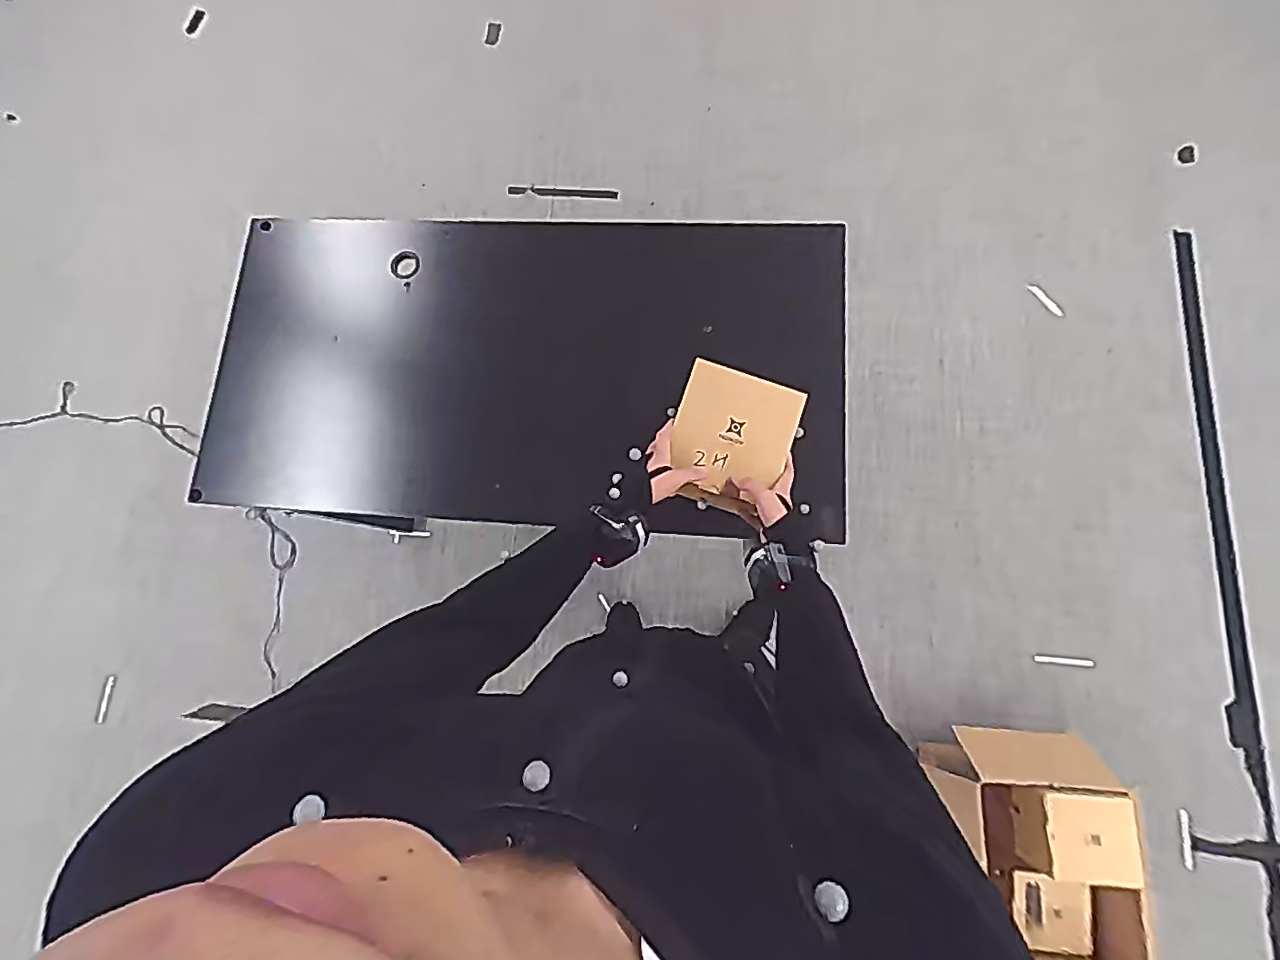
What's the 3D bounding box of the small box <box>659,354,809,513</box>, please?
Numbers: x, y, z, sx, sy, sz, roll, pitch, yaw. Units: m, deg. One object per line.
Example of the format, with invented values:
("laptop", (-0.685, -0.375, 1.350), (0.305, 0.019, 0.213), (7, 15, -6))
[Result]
("small box", (0.129, -0.059, 0.816), (0.168, 0.176, 0.179), (20, 85, 3))
